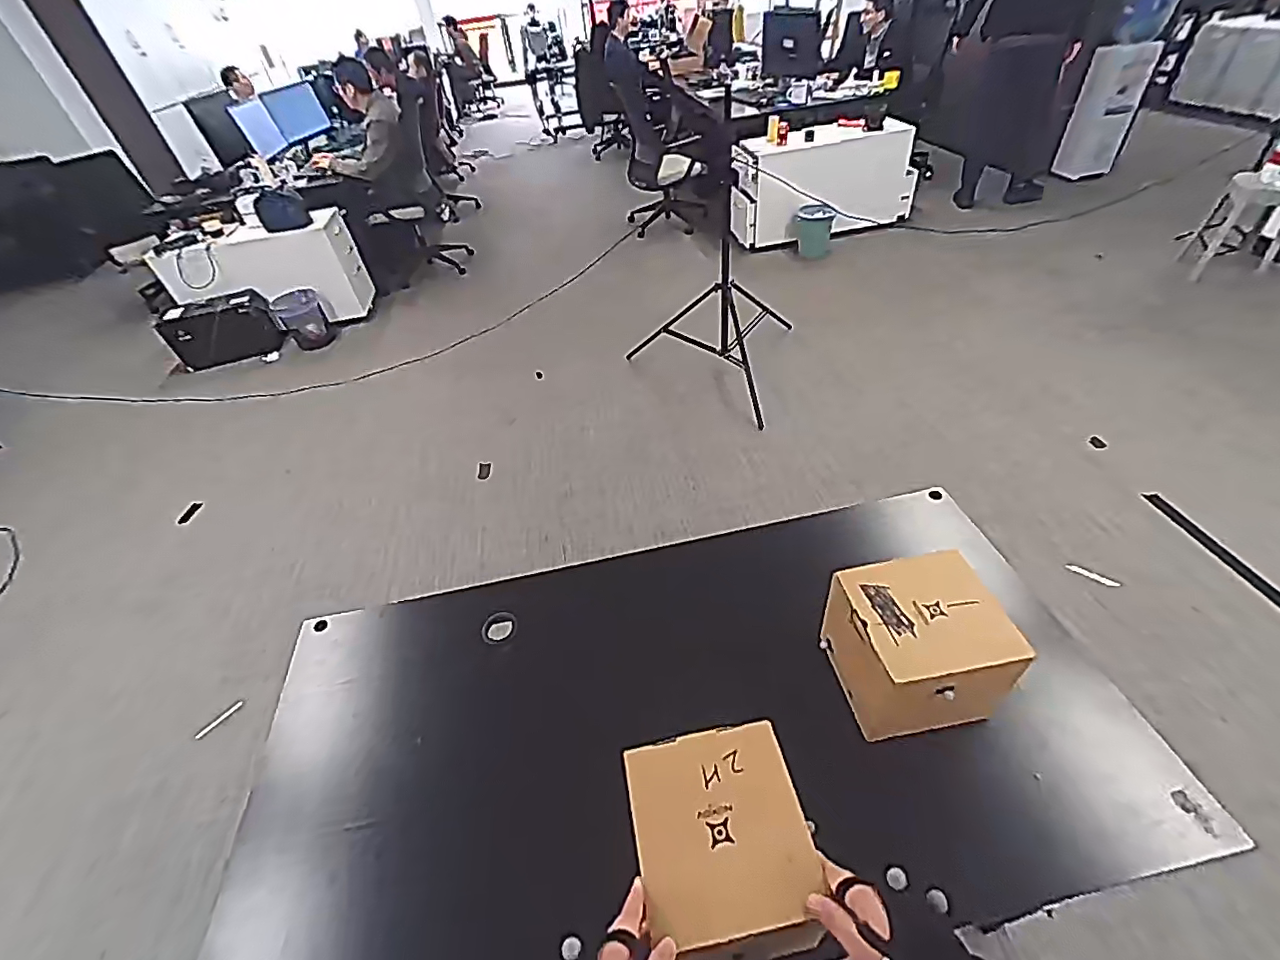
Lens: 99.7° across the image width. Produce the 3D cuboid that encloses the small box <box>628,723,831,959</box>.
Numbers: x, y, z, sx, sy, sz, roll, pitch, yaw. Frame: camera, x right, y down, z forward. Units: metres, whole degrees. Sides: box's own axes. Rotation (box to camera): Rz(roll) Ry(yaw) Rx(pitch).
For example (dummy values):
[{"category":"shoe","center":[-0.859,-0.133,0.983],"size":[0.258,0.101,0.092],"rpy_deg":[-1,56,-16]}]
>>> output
[{"category":"small box","center":[0.087,0.399,0.588],"size":[0.168,0.176,0.179],"rpy_deg":[-10,41,-4]}]

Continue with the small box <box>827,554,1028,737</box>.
[{"category":"small box","center":[0.370,0.229,0.742],"size":[0.179,0.176,0.168],"rpy_deg":[-10,43,-2]}]
